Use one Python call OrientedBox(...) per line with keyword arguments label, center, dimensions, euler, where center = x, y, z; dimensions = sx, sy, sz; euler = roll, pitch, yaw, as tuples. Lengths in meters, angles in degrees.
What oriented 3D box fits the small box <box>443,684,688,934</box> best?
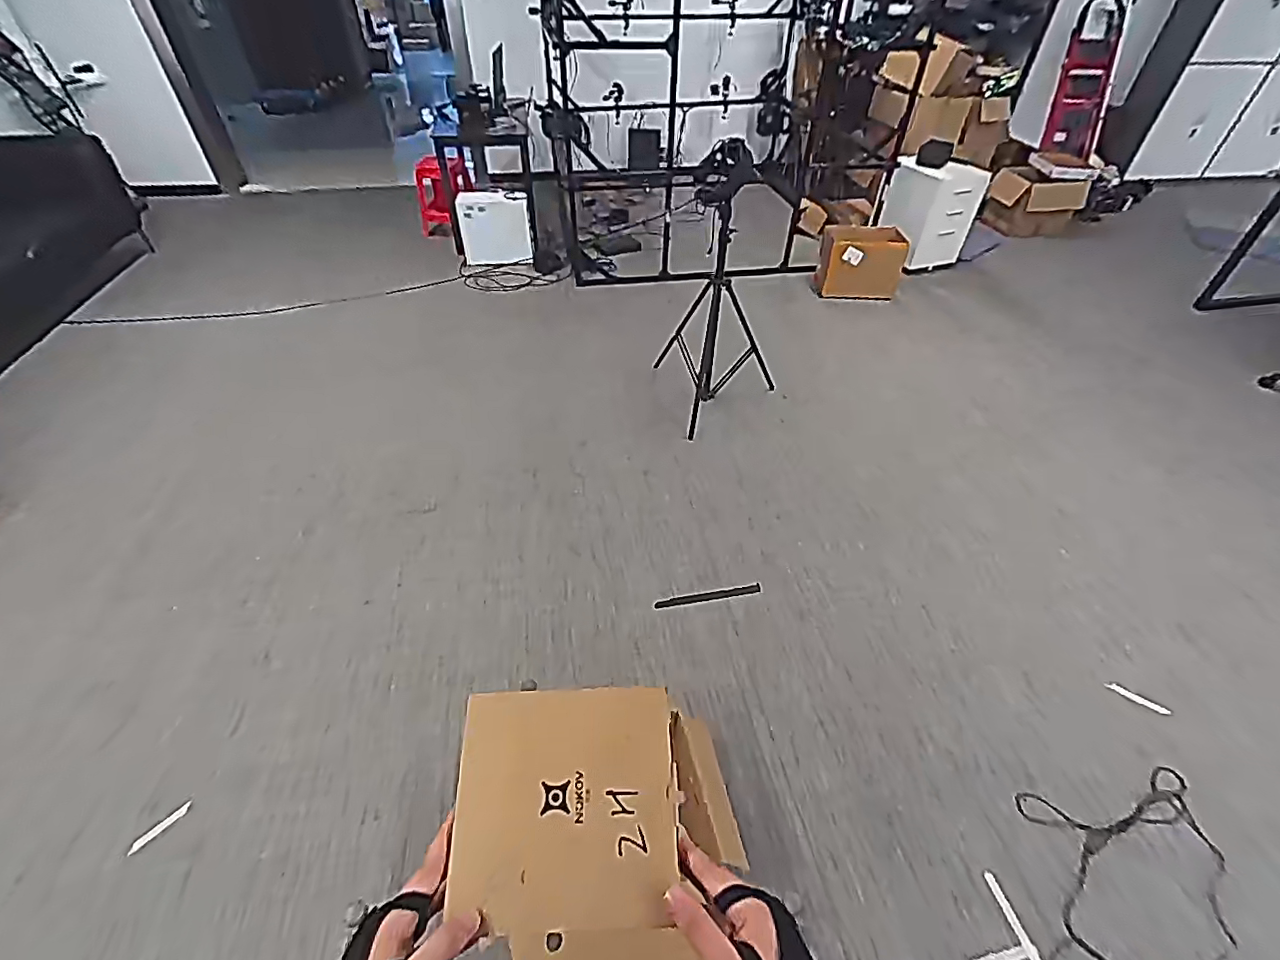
OrientedBox(label="small box", center=(-0.054, 0.289, 0.488), dimensions=(0.179, 0.176, 0.168), euler=(-2, 59, -2))
